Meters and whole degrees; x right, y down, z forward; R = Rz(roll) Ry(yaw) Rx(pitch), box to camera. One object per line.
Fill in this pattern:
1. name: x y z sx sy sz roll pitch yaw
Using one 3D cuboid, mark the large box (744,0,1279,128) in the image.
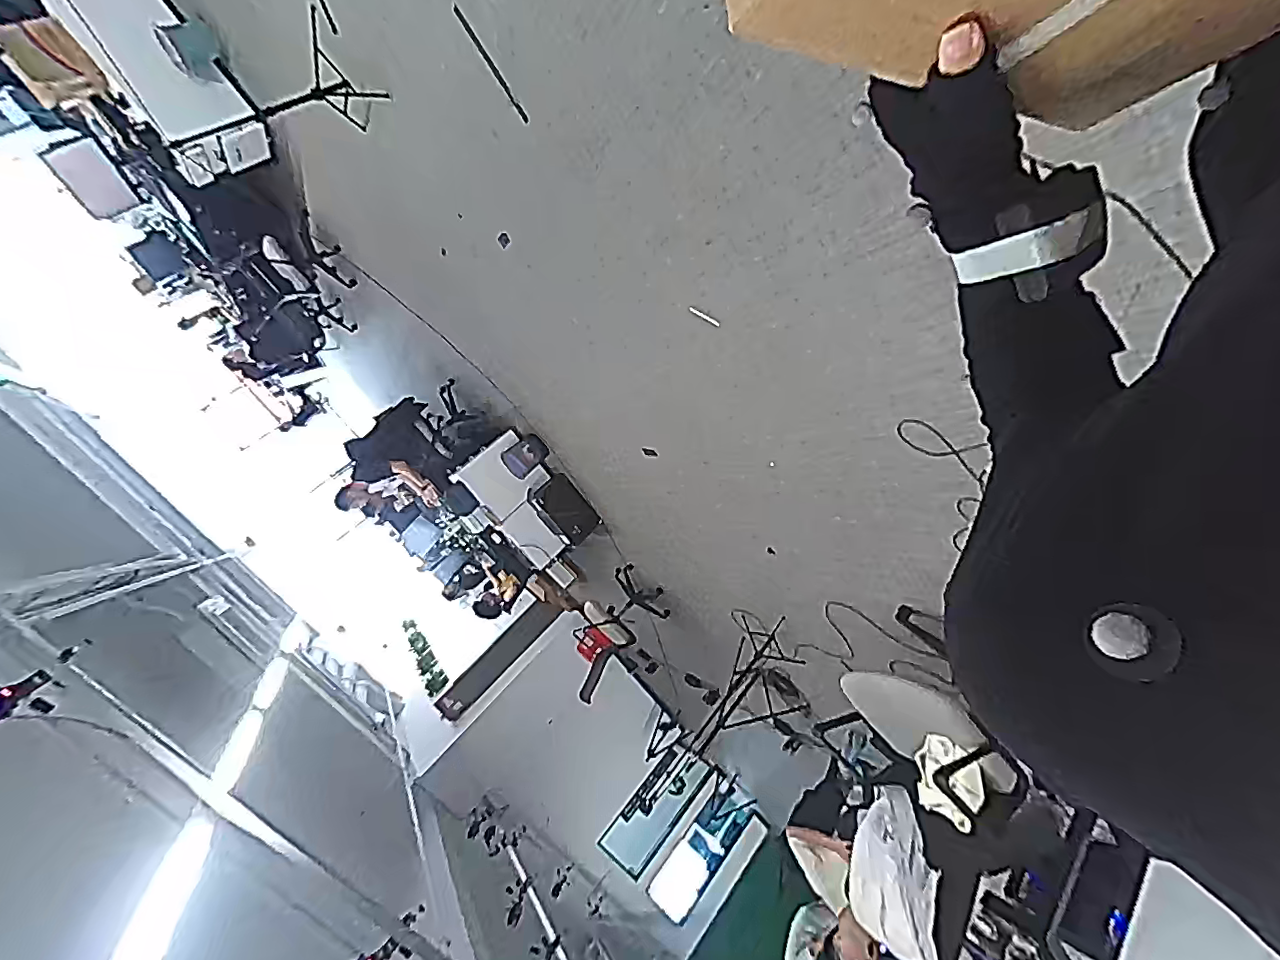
1. large box: 0.245 -0.384 0.134 0.408 0.320 0.320 -5 95 62
